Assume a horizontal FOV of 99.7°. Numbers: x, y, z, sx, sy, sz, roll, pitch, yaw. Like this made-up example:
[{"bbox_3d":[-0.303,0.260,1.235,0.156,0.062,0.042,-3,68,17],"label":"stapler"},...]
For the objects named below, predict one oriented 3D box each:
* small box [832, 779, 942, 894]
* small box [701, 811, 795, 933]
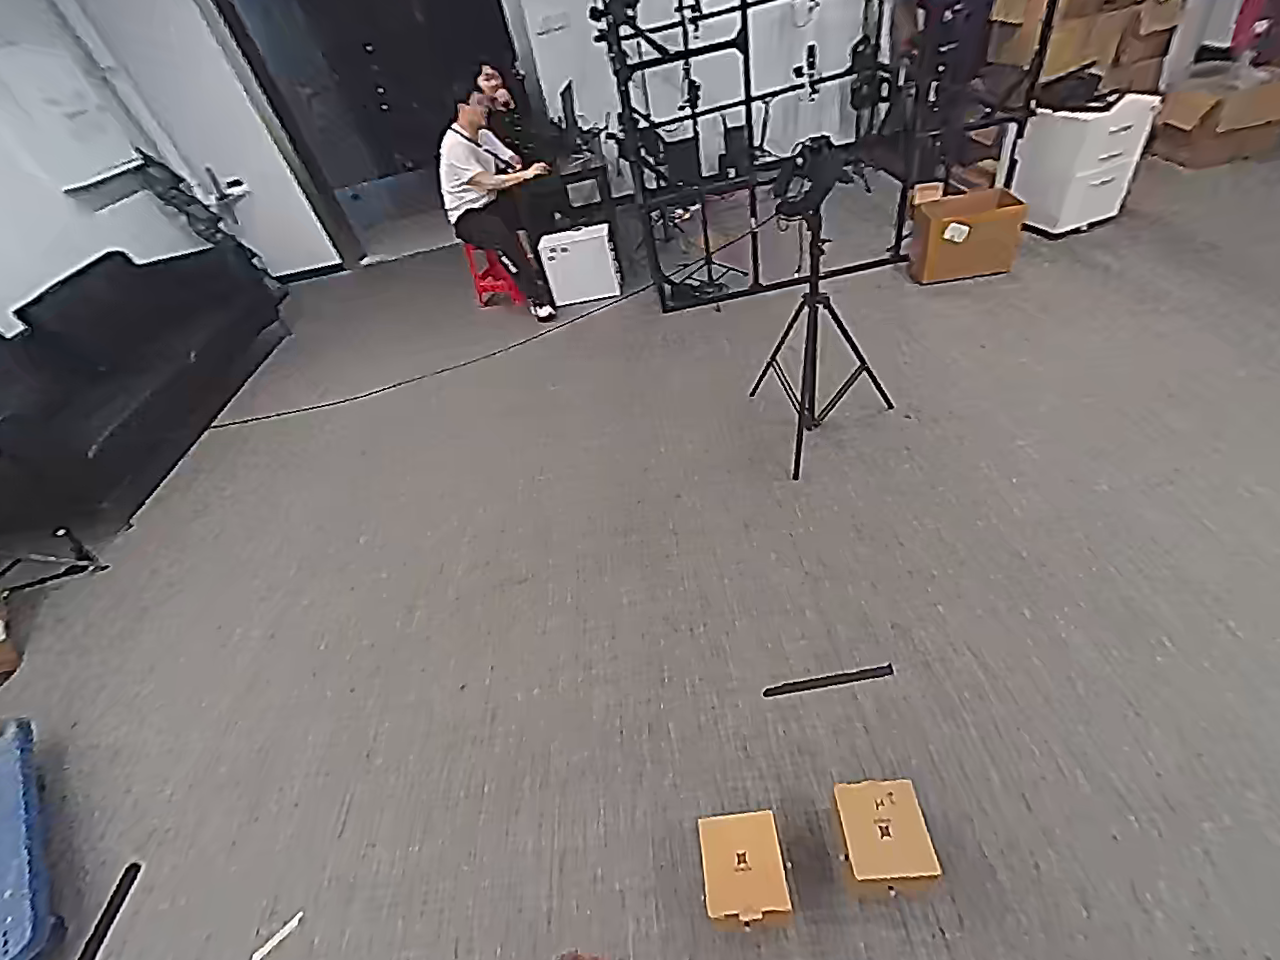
[{"bbox_3d":[0.518,0.771,1.162,0.168,0.176,0.179,-8,42,7],"label":"small box"},{"bbox_3d":[0.230,0.847,1.167,0.168,0.176,0.179,-11,42,5],"label":"small box"}]
